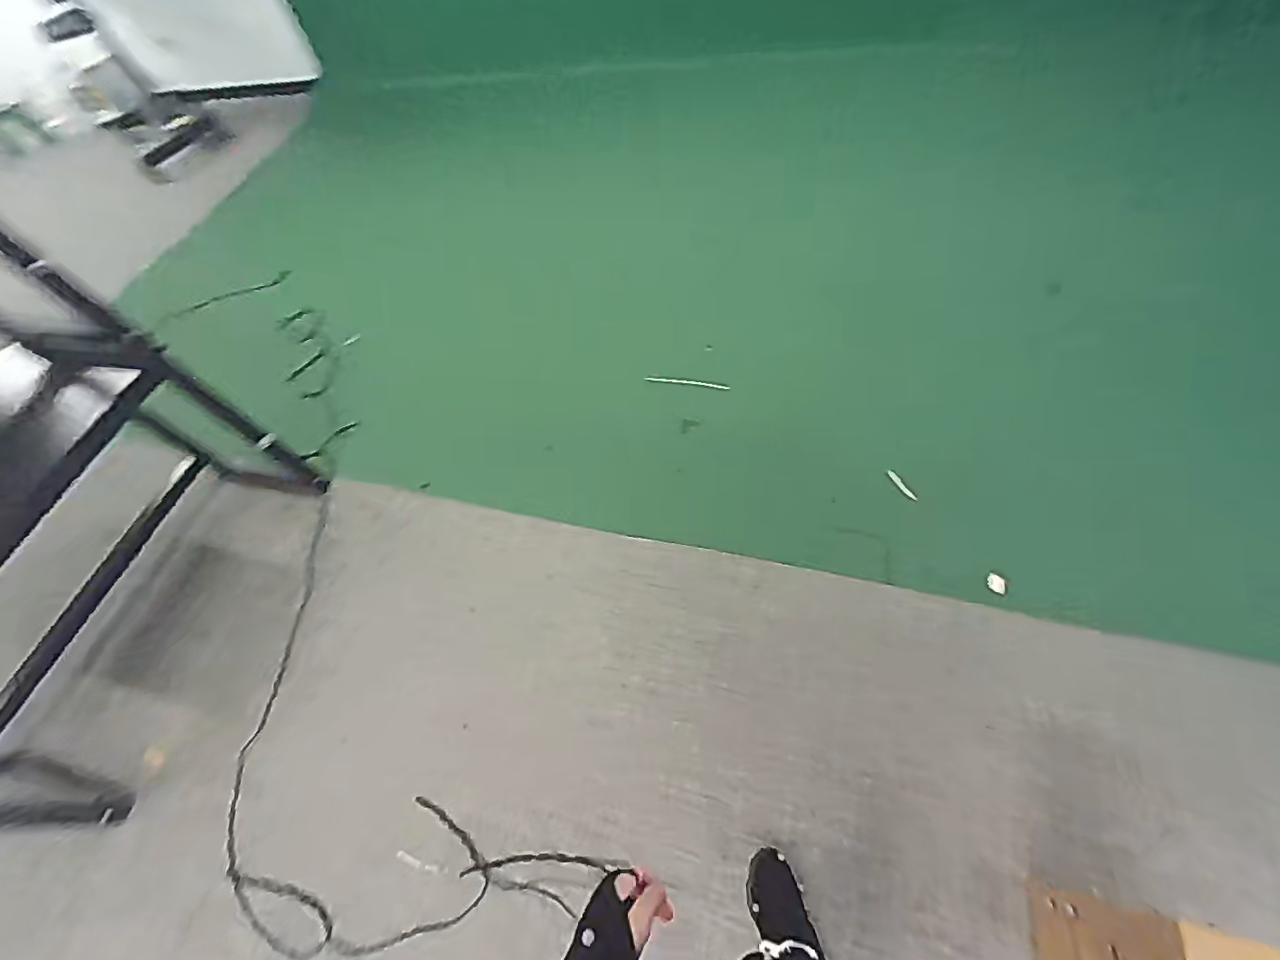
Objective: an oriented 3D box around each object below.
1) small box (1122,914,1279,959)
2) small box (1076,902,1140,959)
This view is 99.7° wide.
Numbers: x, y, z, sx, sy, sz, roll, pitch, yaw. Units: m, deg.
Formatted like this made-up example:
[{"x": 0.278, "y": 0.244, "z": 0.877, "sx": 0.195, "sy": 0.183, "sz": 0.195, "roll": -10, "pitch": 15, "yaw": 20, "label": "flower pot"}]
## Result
[{"x": 0.821, "y": 0.745, "z": 0.755, "sx": 0.168, "sy": 0.176, "sz": 0.179, "roll": 9, "pitch": 61, "yaw": 16, "label": "small box"}, {"x": 0.861, "y": 0.828, "z": 0.893, "sx": 0.179, "sy": 0.176, "sz": 0.168, "roll": 8, "pitch": 61, "yaw": 15, "label": "small box"}]
